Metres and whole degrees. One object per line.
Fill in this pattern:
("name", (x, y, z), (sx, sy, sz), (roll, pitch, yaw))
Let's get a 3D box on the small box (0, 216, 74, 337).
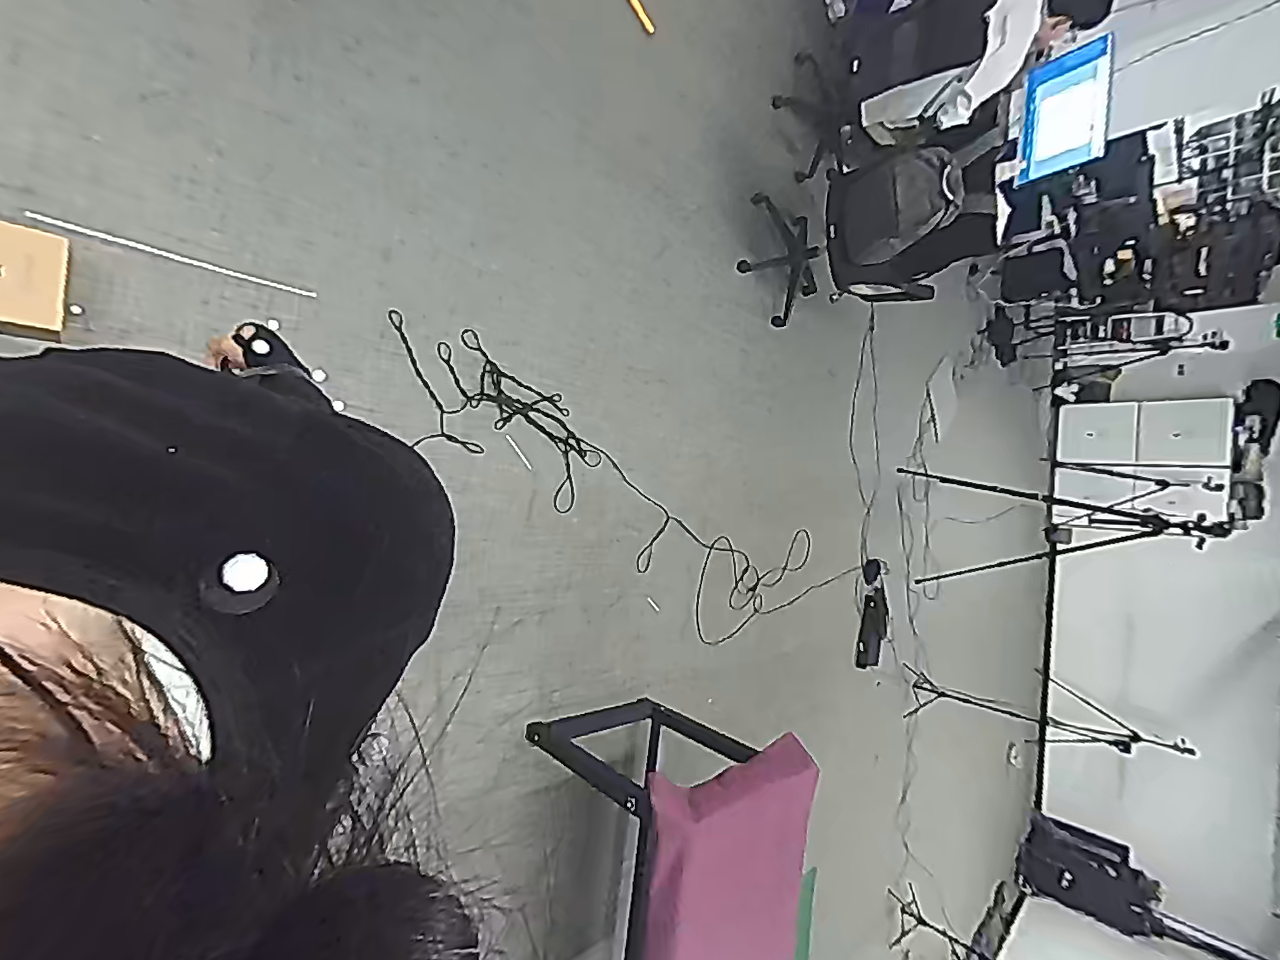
("small box", (-1.113, -0.354, 0.929), (0.179, 0.176, 0.168), (6, 89, -44))
